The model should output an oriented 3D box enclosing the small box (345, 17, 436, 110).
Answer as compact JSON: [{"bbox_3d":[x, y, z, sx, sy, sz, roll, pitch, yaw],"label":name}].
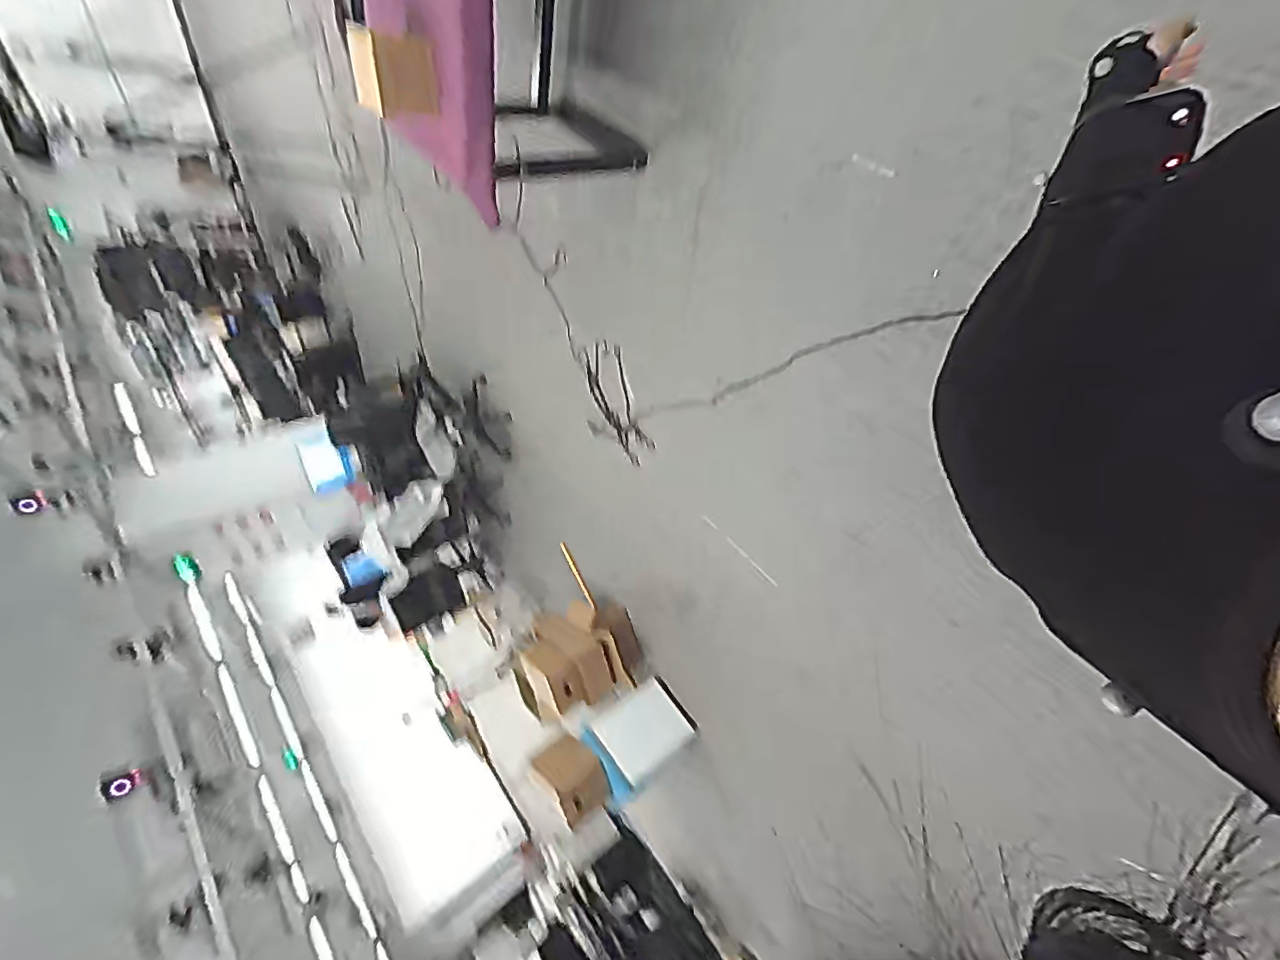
[{"bbox_3d":[-0.679,-1.145,1.492,0.168,0.176,0.179,42,141,28],"label":"small box"}]
